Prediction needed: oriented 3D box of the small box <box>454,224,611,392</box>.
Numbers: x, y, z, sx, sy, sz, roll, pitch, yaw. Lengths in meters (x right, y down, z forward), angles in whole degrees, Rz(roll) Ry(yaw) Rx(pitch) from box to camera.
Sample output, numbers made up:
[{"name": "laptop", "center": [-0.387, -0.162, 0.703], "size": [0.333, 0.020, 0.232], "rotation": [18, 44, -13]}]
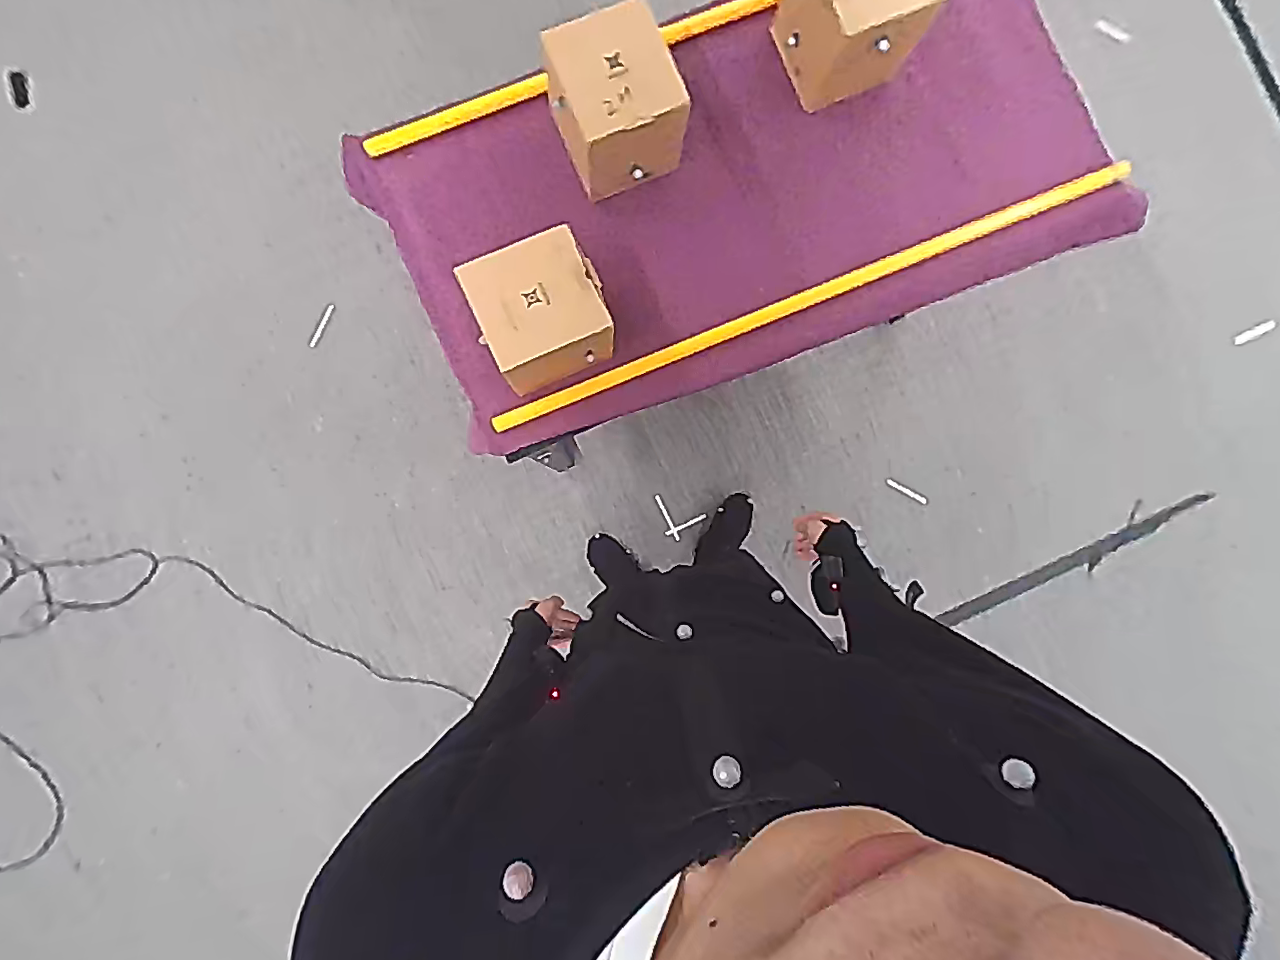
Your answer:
[{"name": "small box", "center": [-0.158, -0.255, 0.841], "size": [0.179, 0.176, 0.168], "rotation": [-25, 88, -6]}]

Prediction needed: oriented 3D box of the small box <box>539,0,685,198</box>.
[{"name": "small box", "center": [-0.046, -0.594, 0.861], "size": [0.168, 0.176, 0.179], "rotation": [-24, 91, -3]}]

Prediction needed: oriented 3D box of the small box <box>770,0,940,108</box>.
[{"name": "small box", "center": [0.341, -0.765, 0.885], "size": [0.179, 0.176, 0.168], "rotation": [-24, 90, -2]}]
